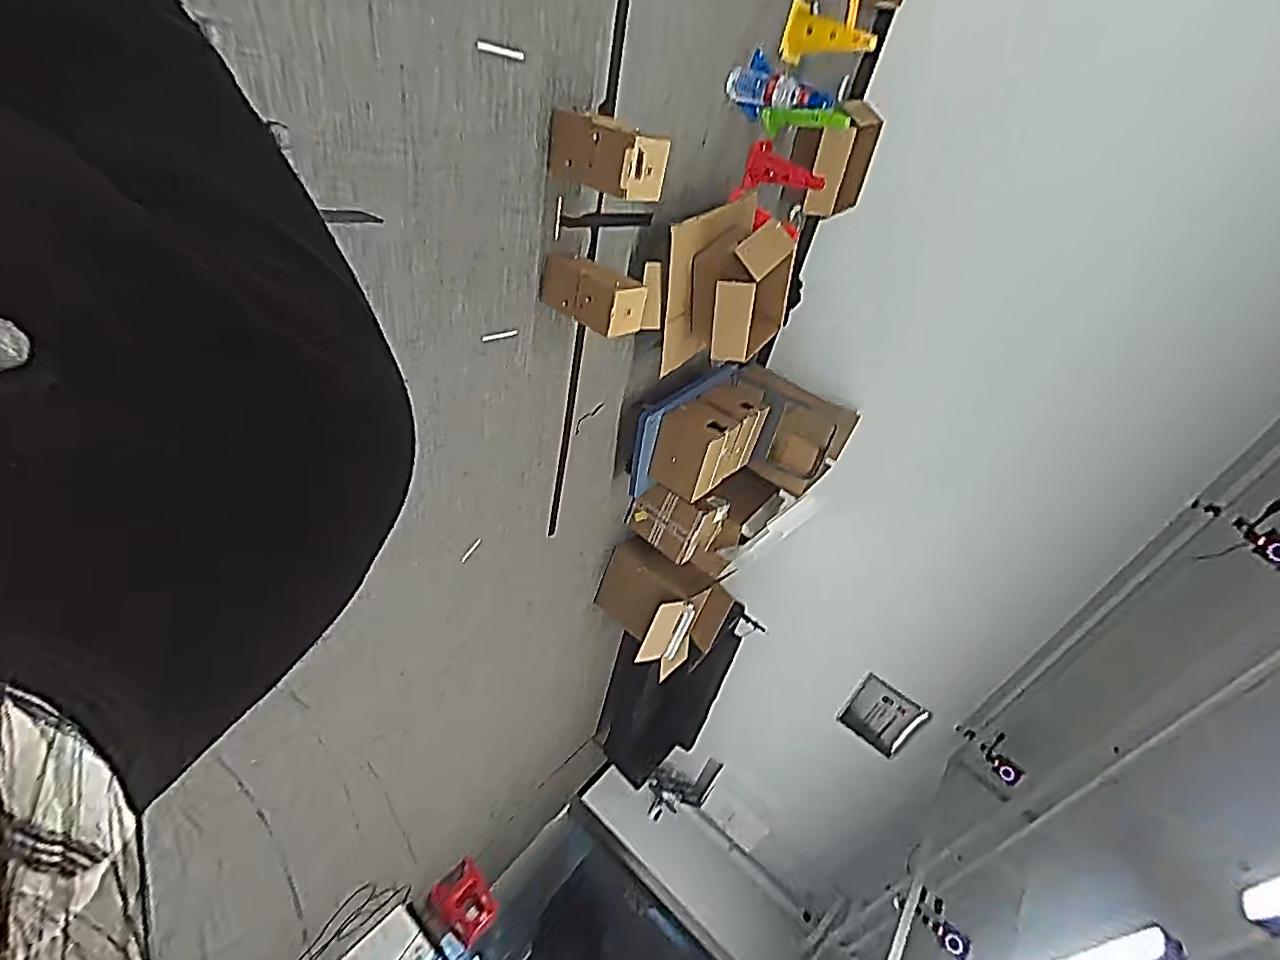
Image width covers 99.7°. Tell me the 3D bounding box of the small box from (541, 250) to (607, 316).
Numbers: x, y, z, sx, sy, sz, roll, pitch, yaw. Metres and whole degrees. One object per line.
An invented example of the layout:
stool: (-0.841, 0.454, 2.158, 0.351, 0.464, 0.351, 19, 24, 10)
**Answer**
small box: (-0.238, -0.712, 1.952, 0.168, 0.176, 0.179, -27, 143, -48)

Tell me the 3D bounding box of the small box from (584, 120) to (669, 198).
small box: (-0.044, -0.956, 1.612, 0.179, 0.176, 0.168, -31, 146, -45)

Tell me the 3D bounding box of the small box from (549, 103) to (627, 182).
small box: (-0.167, -1.044, 1.677, 0.168, 0.176, 0.179, -33, 146, -43)

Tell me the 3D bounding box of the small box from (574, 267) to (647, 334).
small box: (-0.107, -0.633, 1.895, 0.179, 0.176, 0.168, -29, 145, -44)
